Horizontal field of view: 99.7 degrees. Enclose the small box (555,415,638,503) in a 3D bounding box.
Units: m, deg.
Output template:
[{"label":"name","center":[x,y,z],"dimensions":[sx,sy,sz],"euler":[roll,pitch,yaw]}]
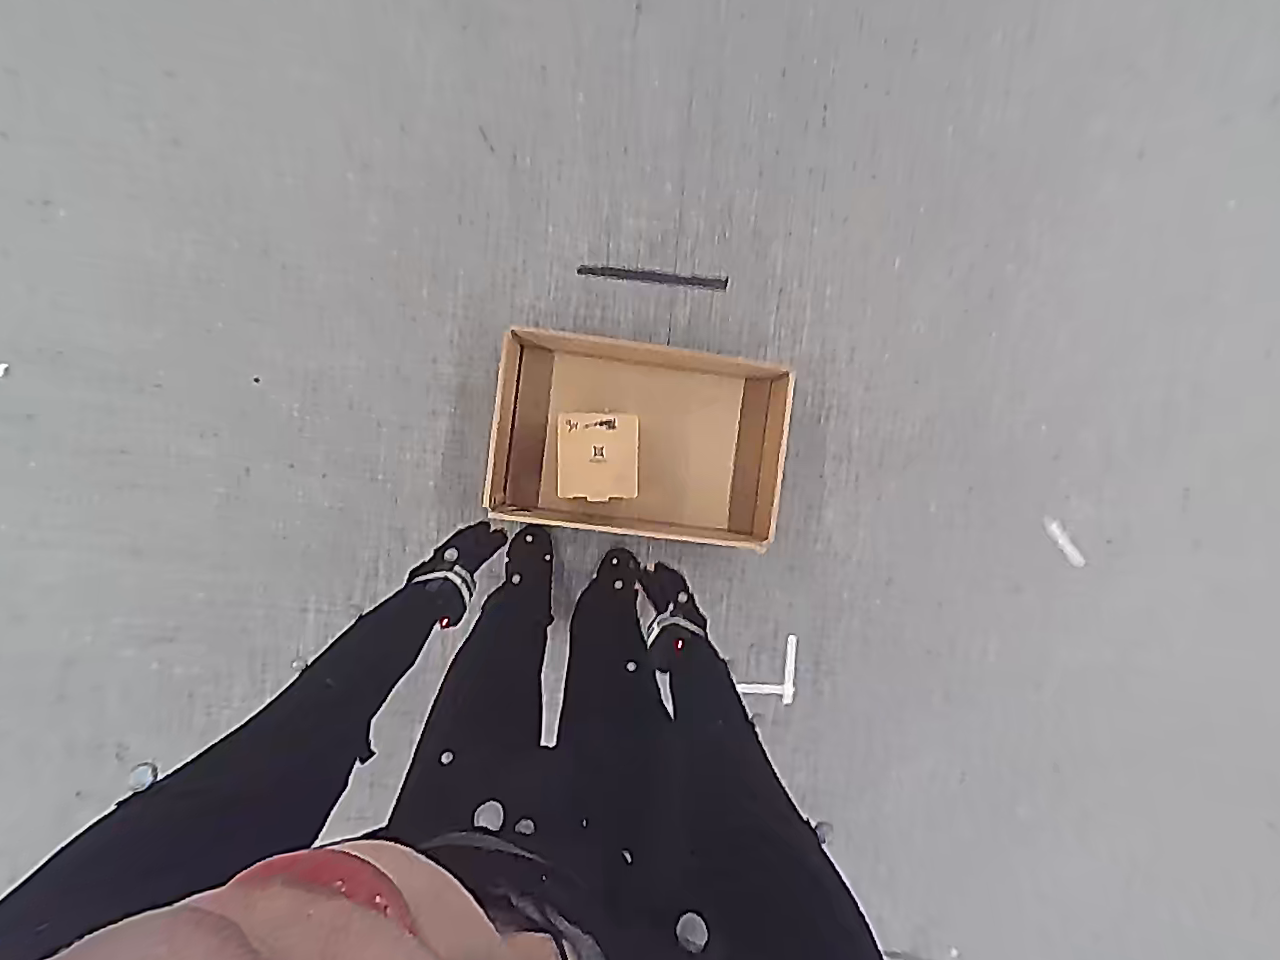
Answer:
[{"label":"small box","center":[-0.096,-0.045,1.173],"dimensions":[0.168,0.176,0.179],"euler":[1,91,-7]}]
